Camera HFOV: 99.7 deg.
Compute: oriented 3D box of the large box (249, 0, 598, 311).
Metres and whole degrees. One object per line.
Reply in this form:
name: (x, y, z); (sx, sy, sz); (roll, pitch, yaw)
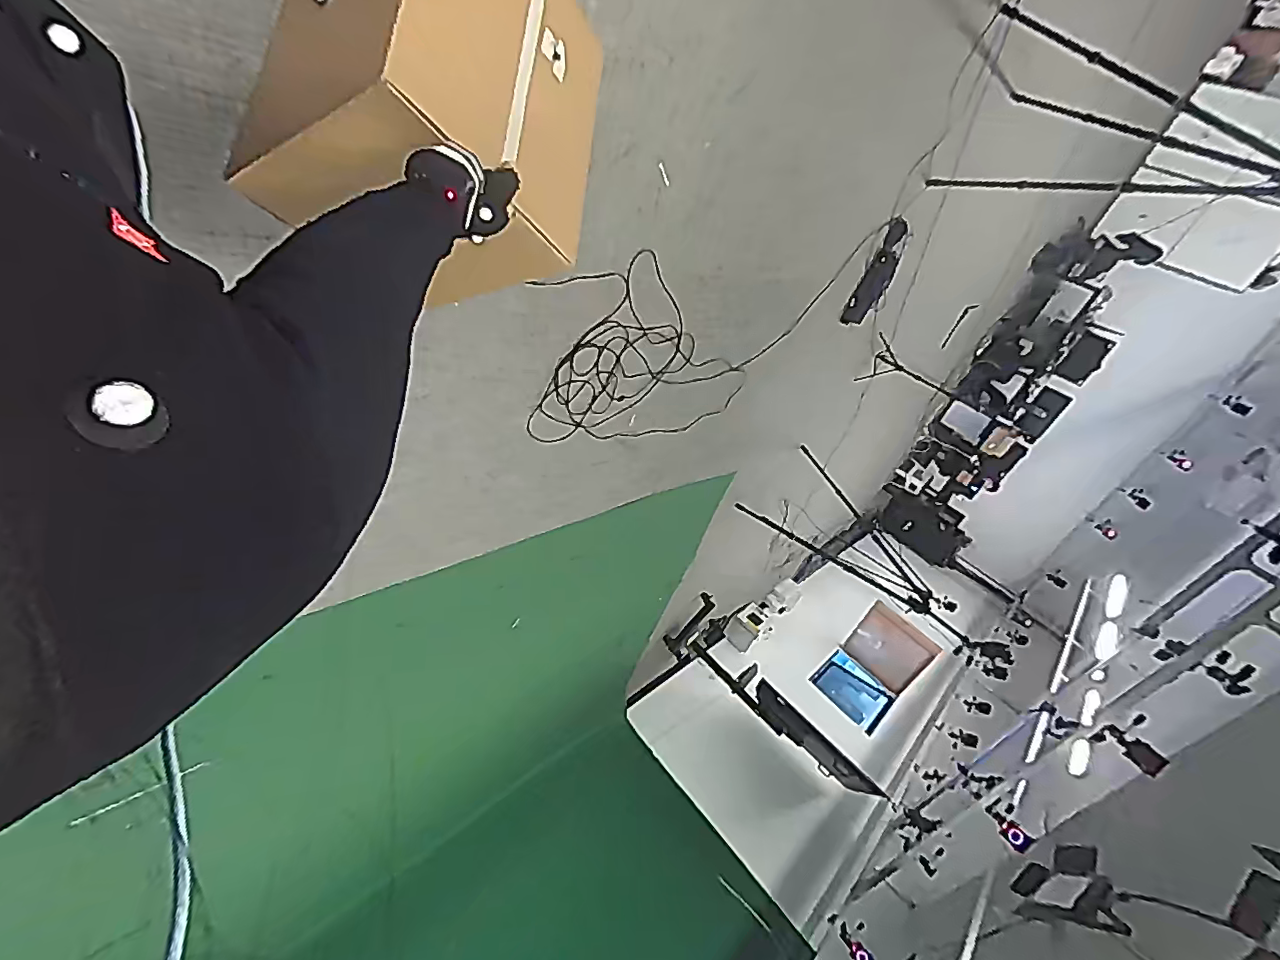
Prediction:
large box: (-0.284, -0.521, 0.777); (0.320, 0.320, 0.408); (27, 63, -57)
